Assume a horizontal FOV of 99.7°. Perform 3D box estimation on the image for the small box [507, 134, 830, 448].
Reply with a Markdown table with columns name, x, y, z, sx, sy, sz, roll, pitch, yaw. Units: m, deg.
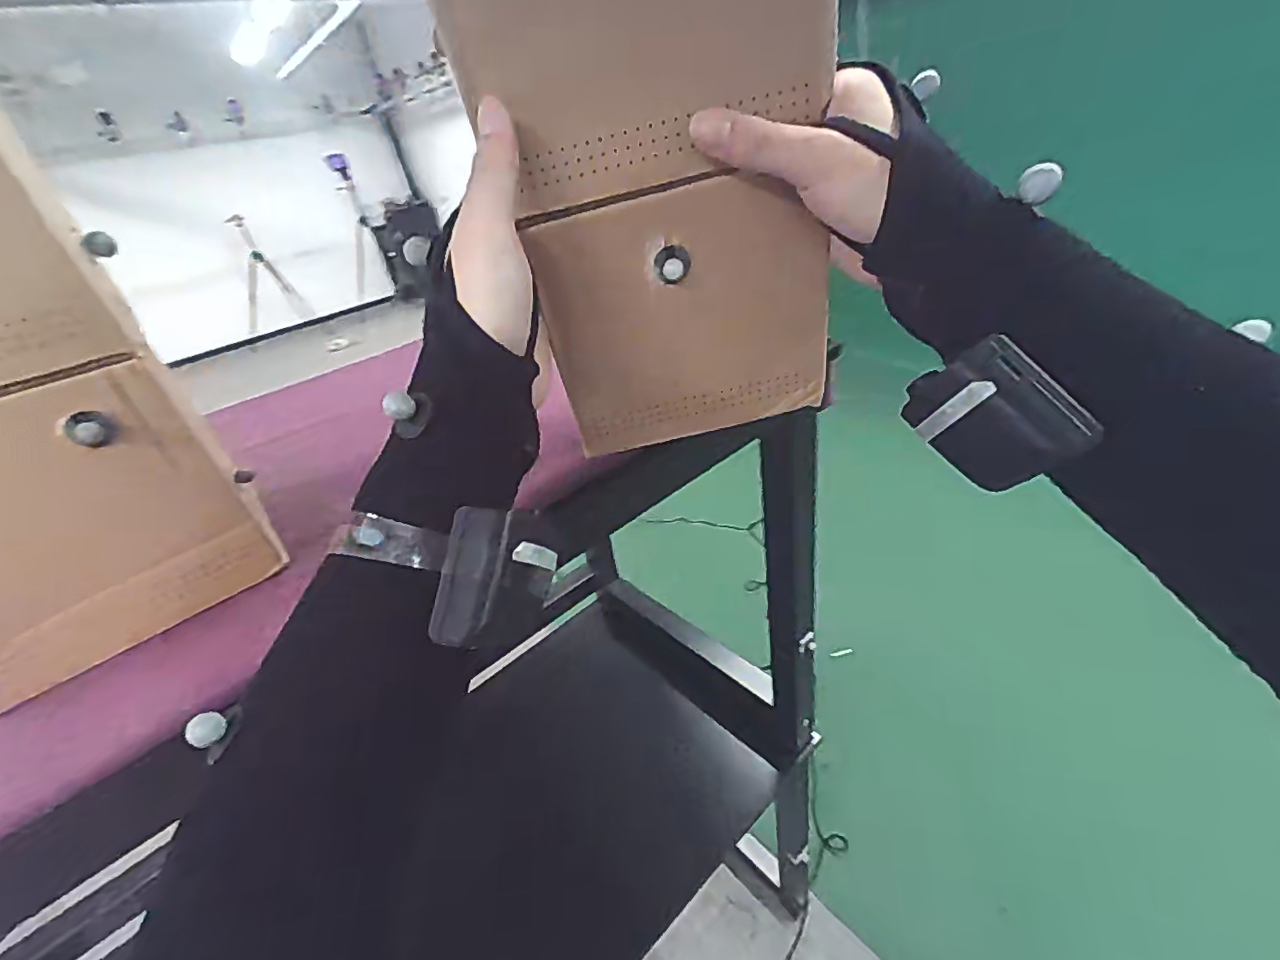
| name | x | y | z | sx | sy | sz | roll | pitch | yaw |
| --- | --- | --- | --- | --- | --- | --- | --- | --- | --- |
| small box | 0.024 | -0.142 | 0.389 | 0.179 | 0.176 | 0.168 | -11 | 42 | 4 |

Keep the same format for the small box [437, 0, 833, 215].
| name | x | y | z | sx | sy | sz | roll | pitch | yaw |
| --- | --- | --- | --- | --- | --- | --- | --- | --- | --- |
| small box | -0.010 | -0.260 | 0.281 | 0.179 | 0.176 | 0.168 | -13 | 43 | 4 |

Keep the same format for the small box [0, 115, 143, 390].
| name | x | y | z | sx | sy | sz | roll | pitch | yaw |
| --- | --- | --- | --- | --- | --- | --- | --- | --- | --- |
| small box | -0.414 | -0.123 | 0.277 | 0.179 | 0.176 | 0.168 | -31 | 37 | -29 |

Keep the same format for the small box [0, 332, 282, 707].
| name | x | y | z | sx | sy | sz | roll | pitch | yaw |
| --- | --- | --- | --- | --- | --- | --- | --- | --- | --- |
| small box | -0.386 | 0.015 | 0.363 | 0.179 | 0.176 | 0.168 | -32 | 37 | -30 |
